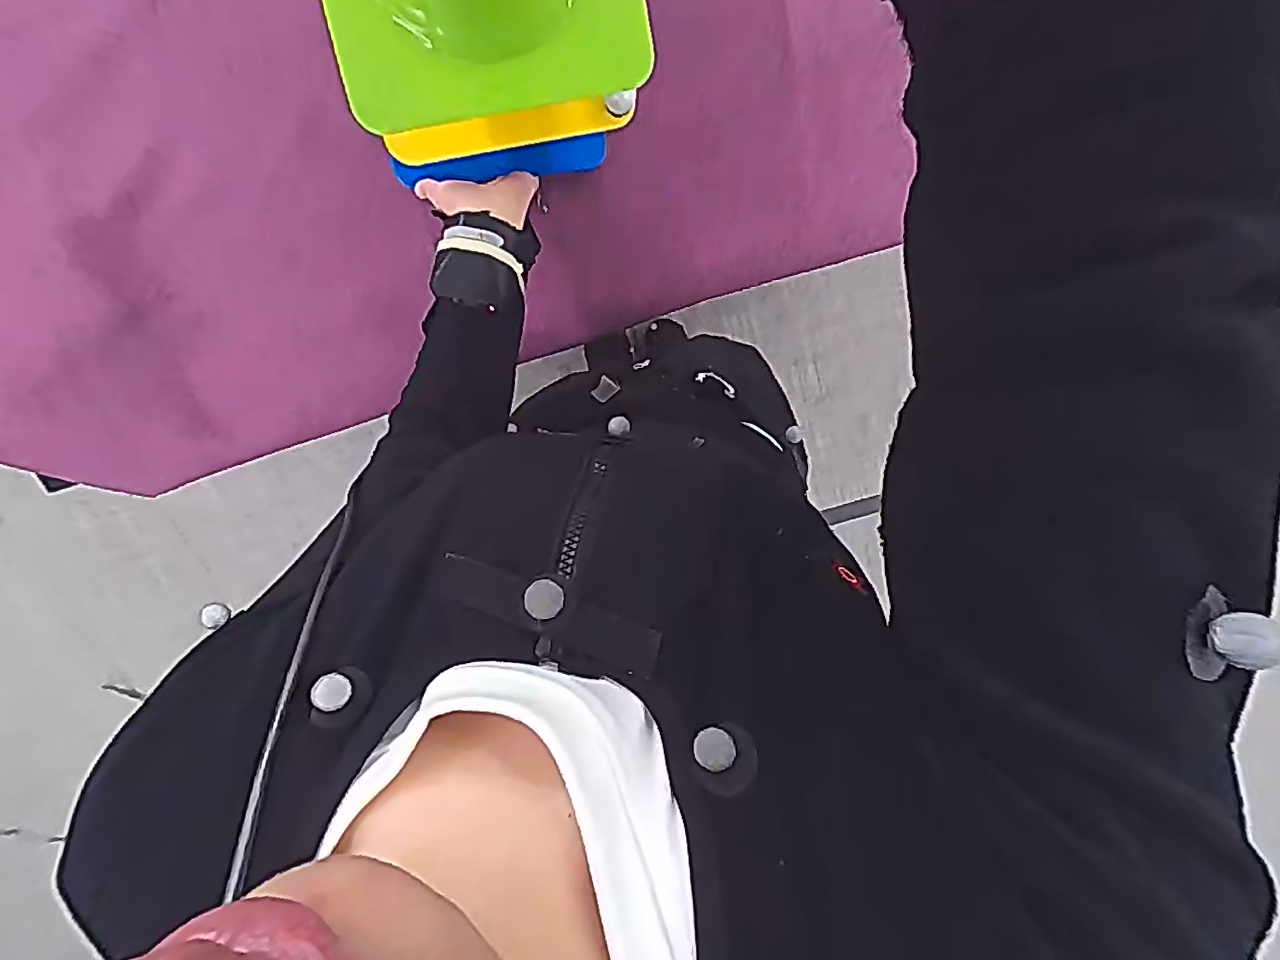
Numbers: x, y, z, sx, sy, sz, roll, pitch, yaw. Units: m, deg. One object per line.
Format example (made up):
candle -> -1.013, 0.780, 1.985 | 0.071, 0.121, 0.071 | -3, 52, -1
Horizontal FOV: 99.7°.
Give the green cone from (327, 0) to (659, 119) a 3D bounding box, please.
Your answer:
green cone -> -0.090, -0.308, 0.156 | 0.200, 0.368, 0.202 | -12, 101, -1
